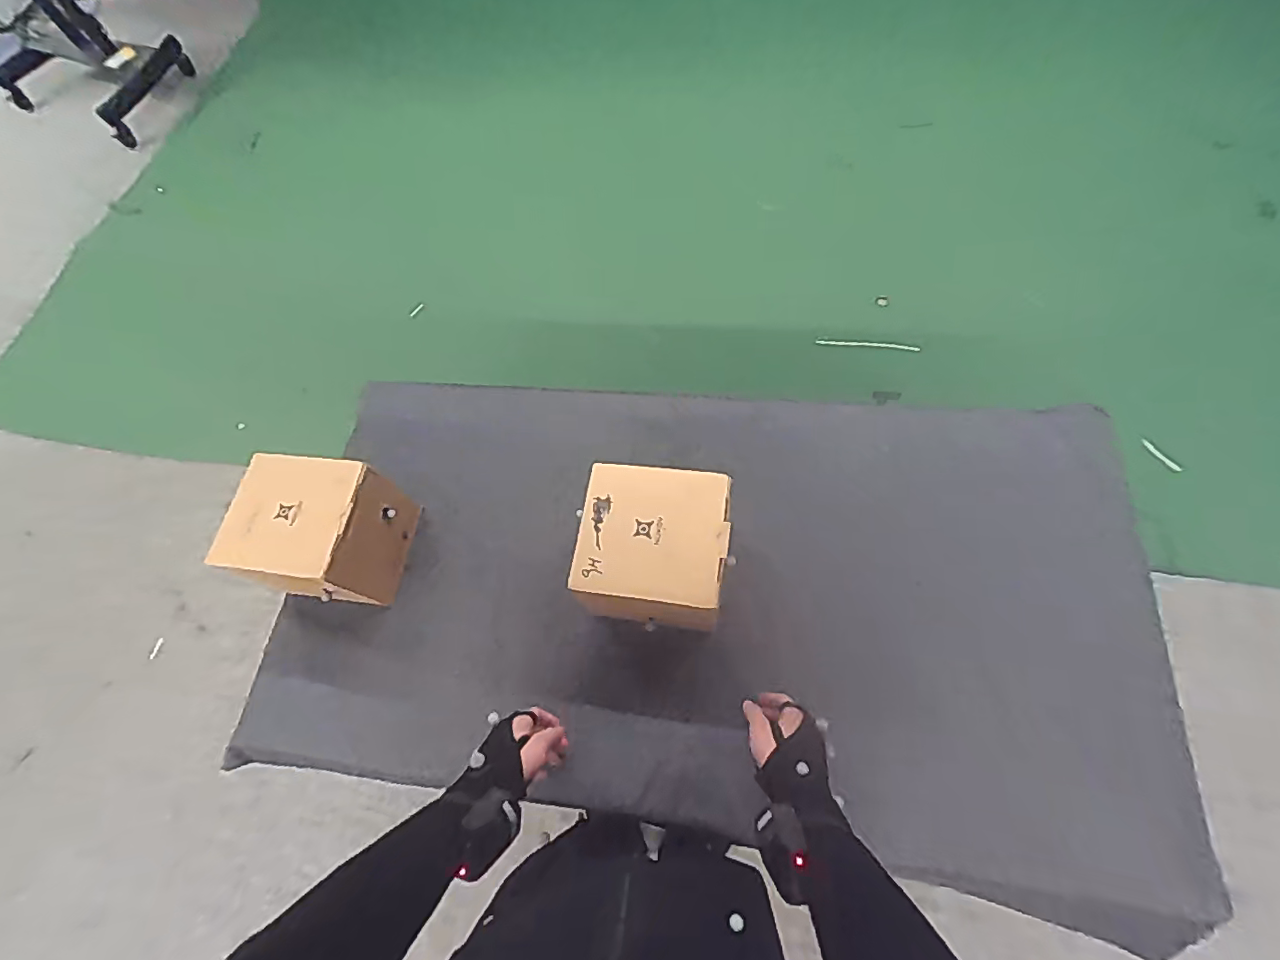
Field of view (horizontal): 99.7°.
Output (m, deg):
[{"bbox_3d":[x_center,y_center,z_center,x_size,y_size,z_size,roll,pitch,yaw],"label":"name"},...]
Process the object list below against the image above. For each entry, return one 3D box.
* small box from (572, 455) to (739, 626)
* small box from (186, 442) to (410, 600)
[{"bbox_3d":[0.025,0.087,0.702,0.179,0.176,0.168,7,66,7],"label":"small box"},{"bbox_3d":[-0.453,0.064,0.752,0.179,0.176,0.168,4,65,8],"label":"small box"}]
